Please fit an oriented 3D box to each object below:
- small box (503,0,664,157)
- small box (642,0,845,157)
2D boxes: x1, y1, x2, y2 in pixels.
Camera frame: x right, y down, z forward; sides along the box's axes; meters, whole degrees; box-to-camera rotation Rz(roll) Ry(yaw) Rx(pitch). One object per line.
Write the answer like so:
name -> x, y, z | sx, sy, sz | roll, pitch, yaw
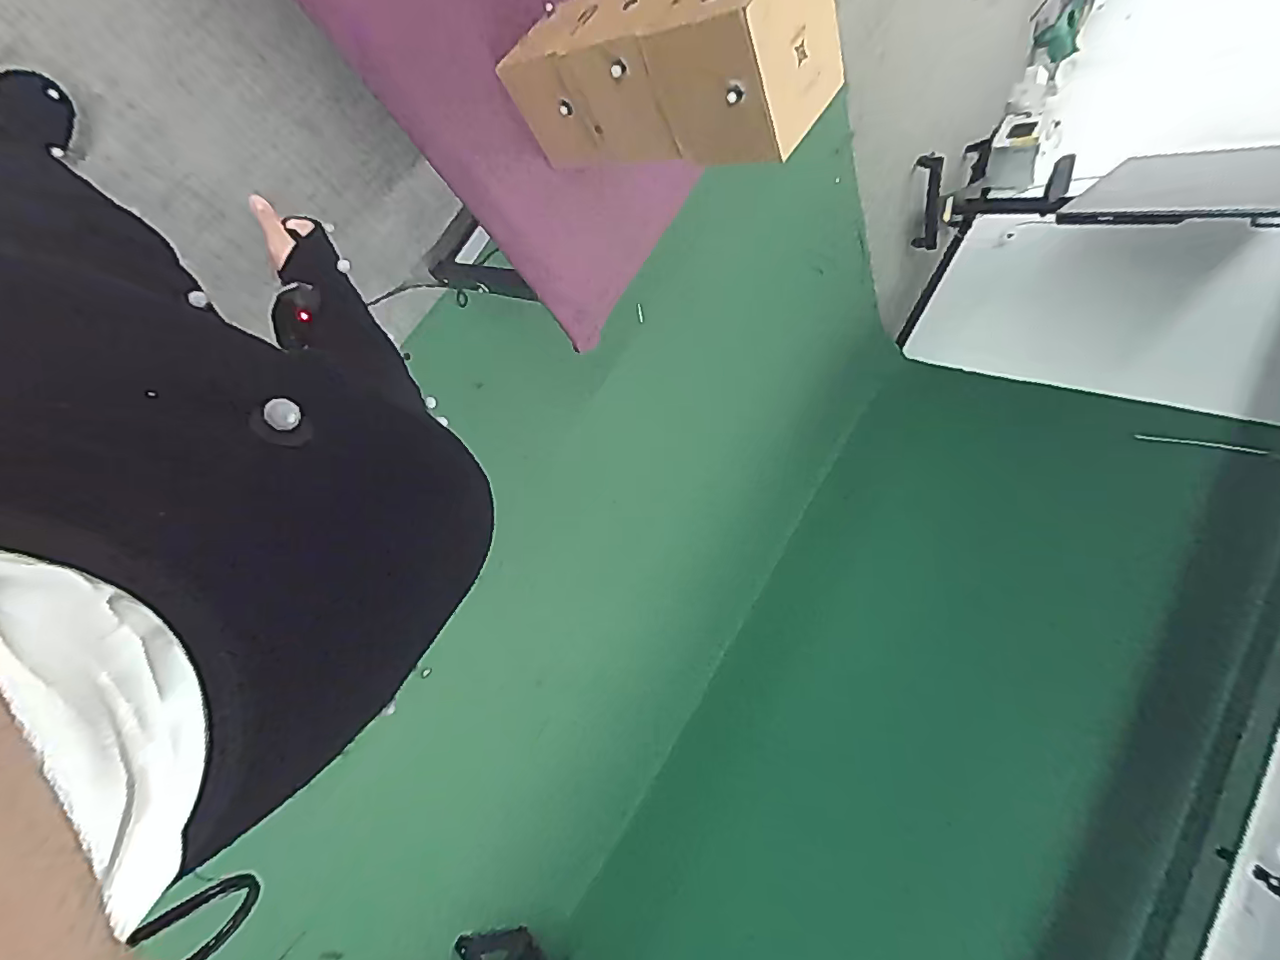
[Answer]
small box -> -0.090, -0.664, 0.890 | 0.168, 0.176, 0.179 | -55, 141, -11
small box -> 0.131, -0.538, 0.683 | 0.168, 0.176, 0.179 | -53, 140, -13
